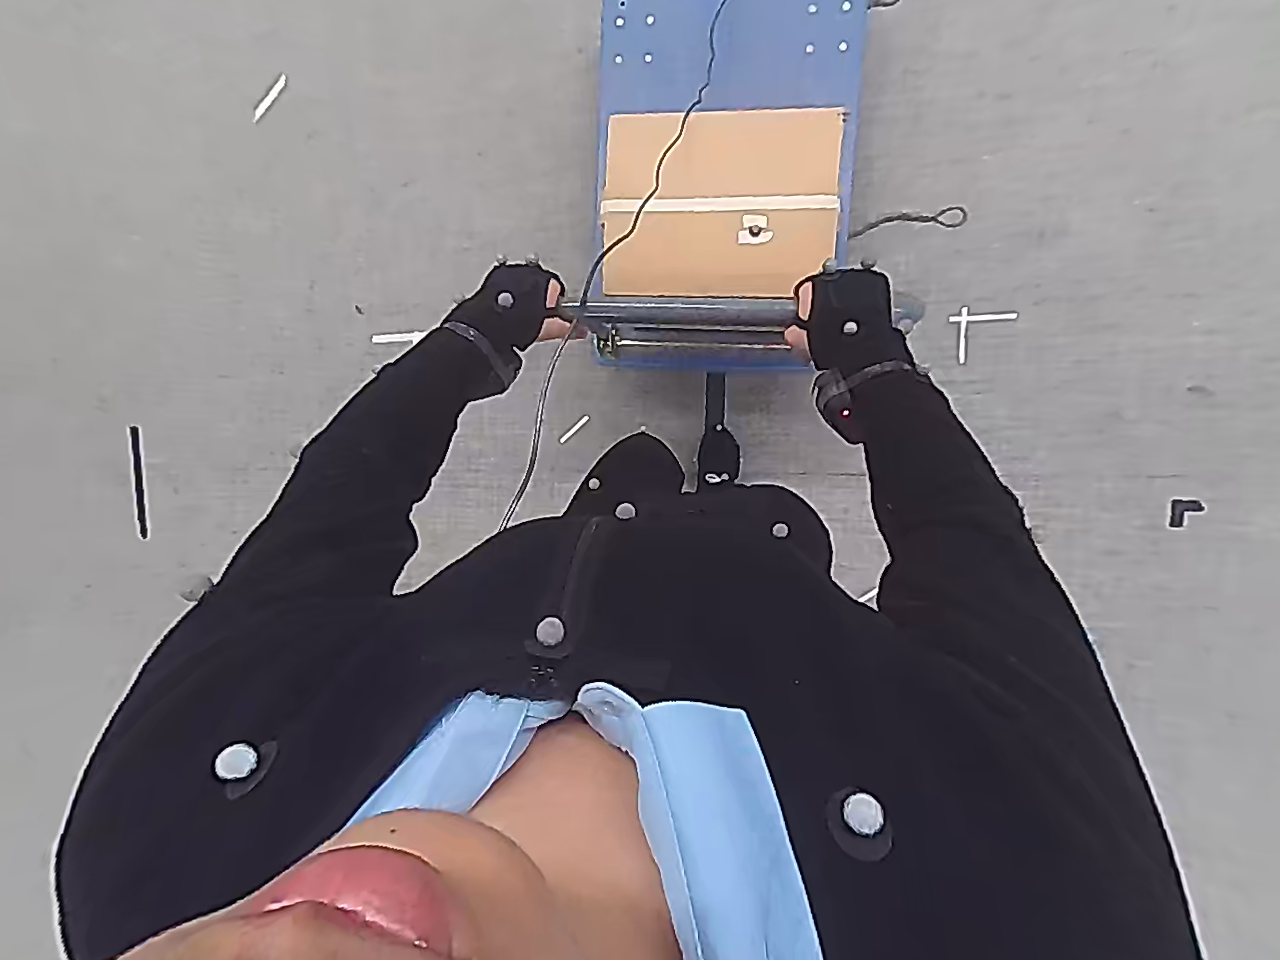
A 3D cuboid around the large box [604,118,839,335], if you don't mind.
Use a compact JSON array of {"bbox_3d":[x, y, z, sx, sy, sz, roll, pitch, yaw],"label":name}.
[{"bbox_3d":[0.151,-0.478,1.093,0.408,0.320,0.320,3,96,7],"label":"large box"}]
